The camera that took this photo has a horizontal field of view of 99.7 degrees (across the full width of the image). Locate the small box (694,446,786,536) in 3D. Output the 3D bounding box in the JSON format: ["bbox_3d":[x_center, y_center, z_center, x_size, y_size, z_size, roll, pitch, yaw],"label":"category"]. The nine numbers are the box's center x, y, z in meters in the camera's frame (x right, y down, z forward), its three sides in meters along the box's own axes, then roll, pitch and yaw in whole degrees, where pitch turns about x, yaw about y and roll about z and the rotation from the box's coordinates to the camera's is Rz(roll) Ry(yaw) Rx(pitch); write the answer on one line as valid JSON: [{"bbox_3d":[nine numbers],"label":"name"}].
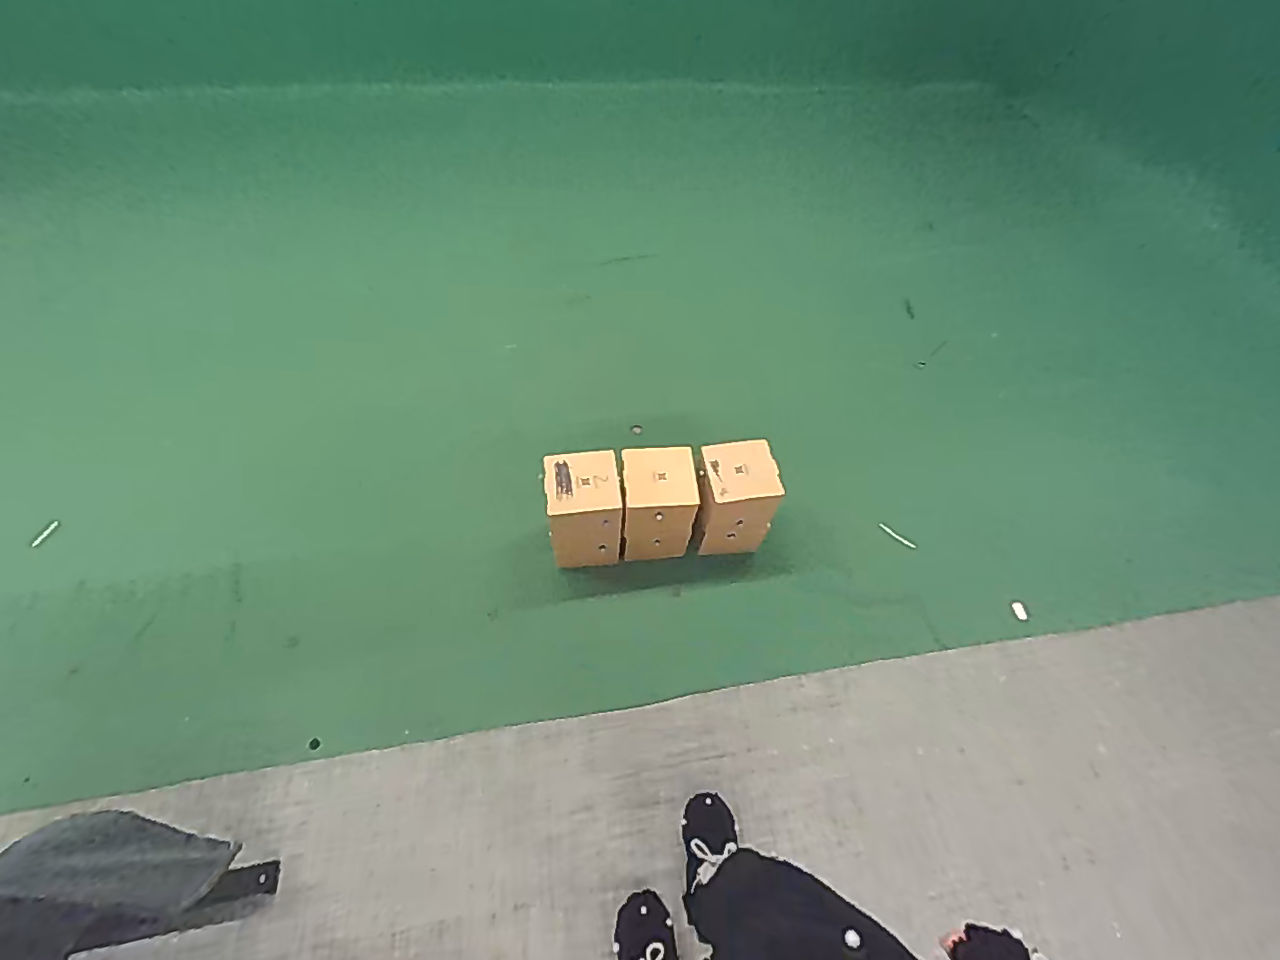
[{"bbox_3d":[0.250,0.031,1.397,0.179,0.176,0.168,-6,59,-9],"label":"small box"}]
